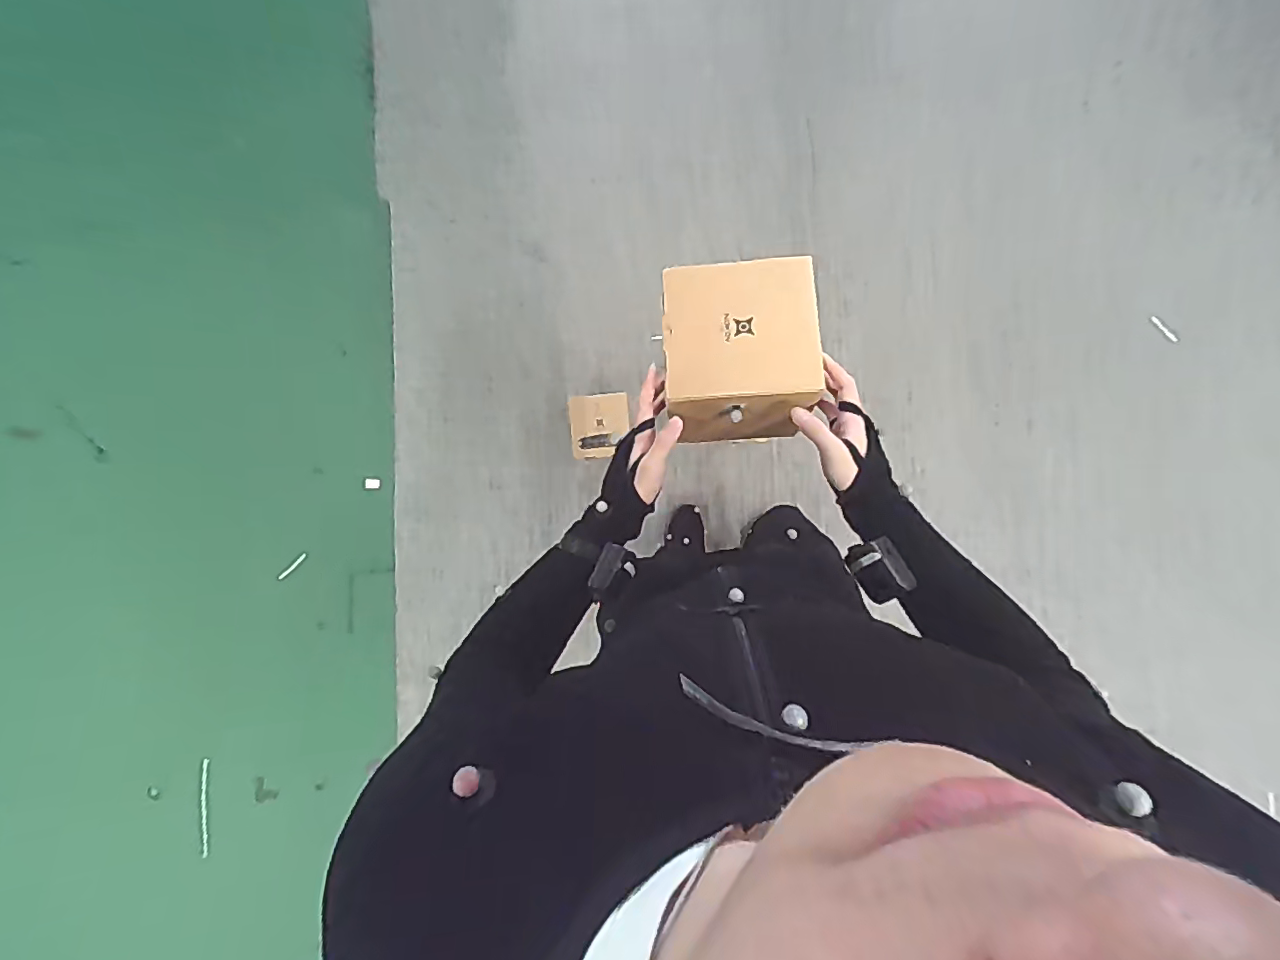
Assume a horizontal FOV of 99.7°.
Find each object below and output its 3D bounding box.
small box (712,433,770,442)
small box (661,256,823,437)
[{"bbox_3d":[0.287,-0.203,1.546,0.168,0.176,0.179,6,91,4],"label":"small box"},{"bbox_3d":[0.120,-0.158,0.688,0.179,0.176,0.168,-3,77,7],"label":"small box"}]
